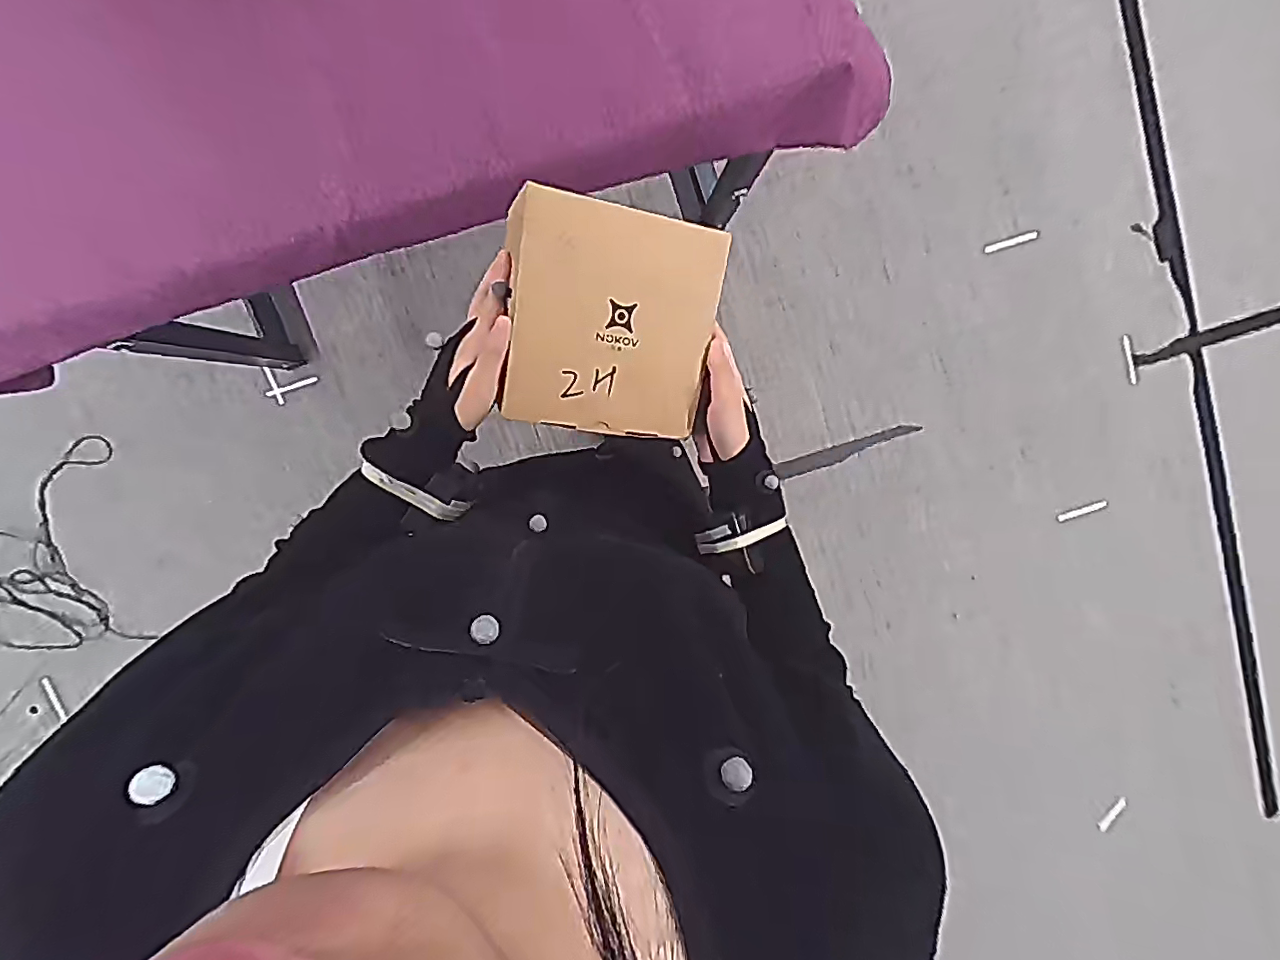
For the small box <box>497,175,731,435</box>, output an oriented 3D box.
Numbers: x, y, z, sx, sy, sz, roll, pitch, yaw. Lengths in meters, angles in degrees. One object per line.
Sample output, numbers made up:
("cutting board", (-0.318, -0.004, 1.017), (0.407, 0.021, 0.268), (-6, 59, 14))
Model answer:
("small box", (-0.039, -0.152, 0.504), (0.168, 0.176, 0.179), (5, 106, -19))
